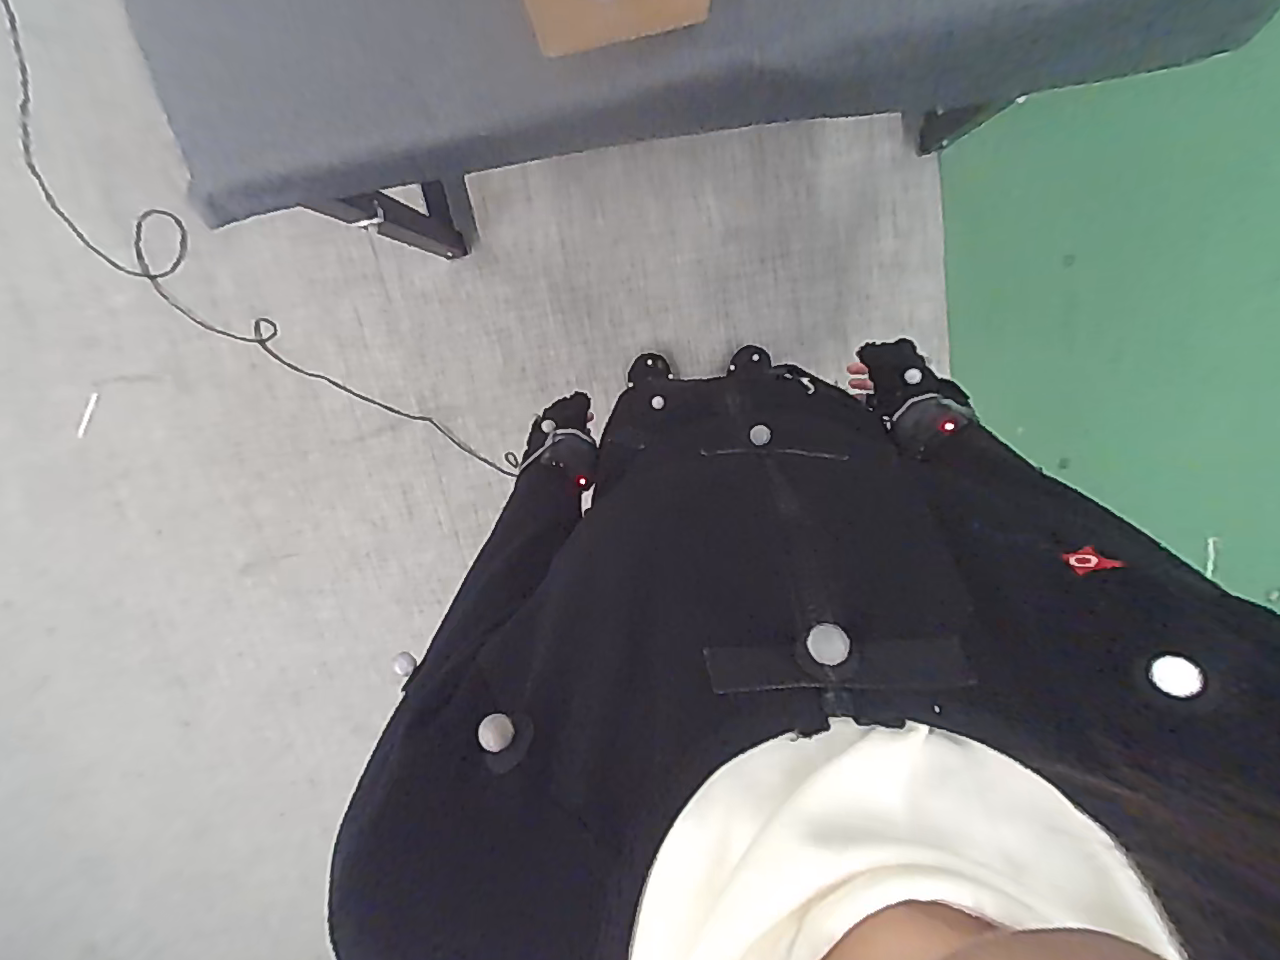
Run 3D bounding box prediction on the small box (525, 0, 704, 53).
[{"bbox_3d":[-0.034,-0.519,0.474,0.179,0.176,0.168,-10,103,3],"label":"small box"}]
